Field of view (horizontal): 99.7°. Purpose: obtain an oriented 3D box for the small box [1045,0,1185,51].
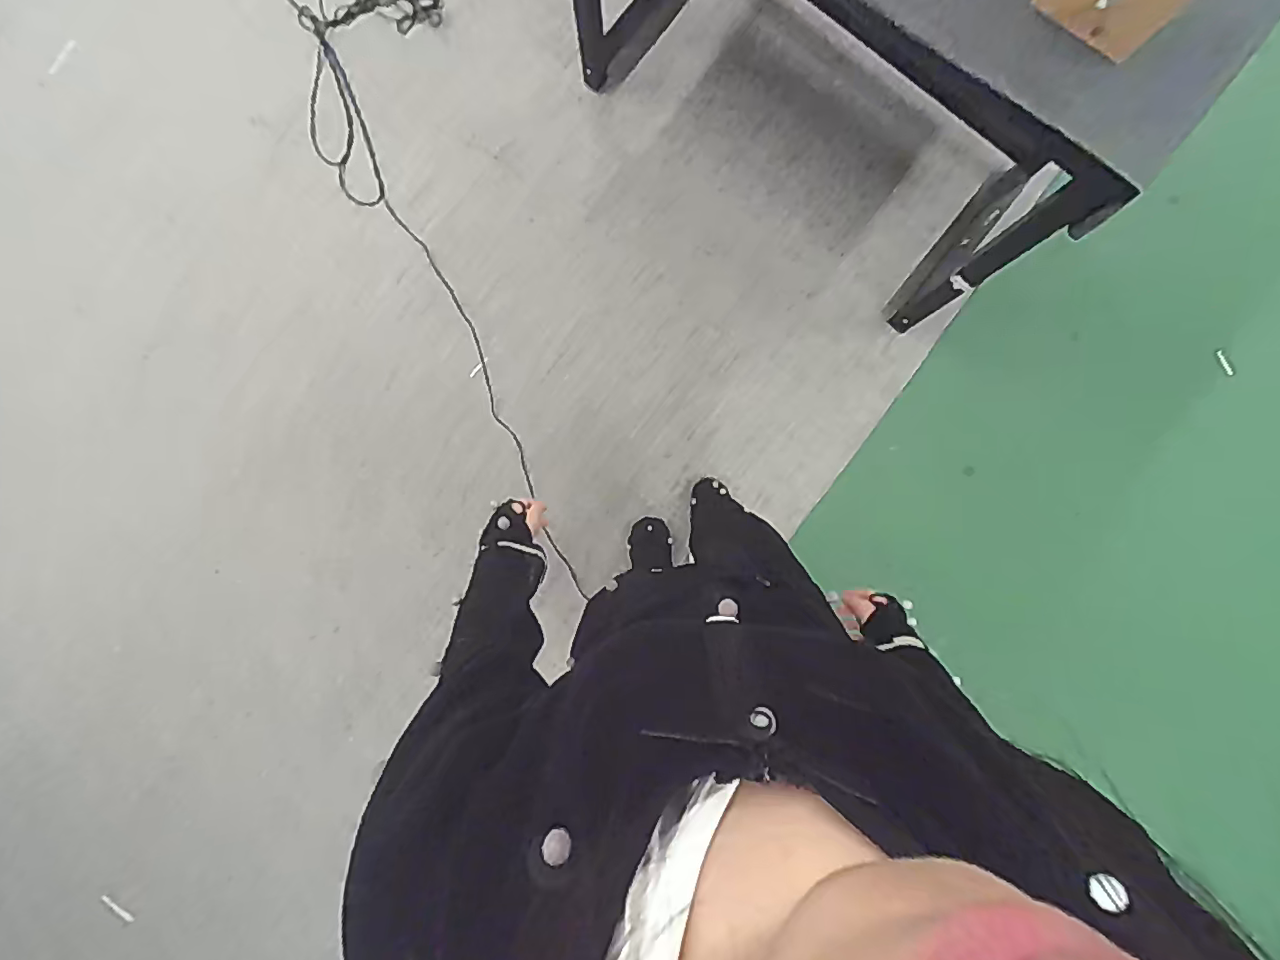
[{"bbox_3d":[0.706,-0.749,0.727,0.168,0.176,0.179,36,88,3],"label":"small box"}]
